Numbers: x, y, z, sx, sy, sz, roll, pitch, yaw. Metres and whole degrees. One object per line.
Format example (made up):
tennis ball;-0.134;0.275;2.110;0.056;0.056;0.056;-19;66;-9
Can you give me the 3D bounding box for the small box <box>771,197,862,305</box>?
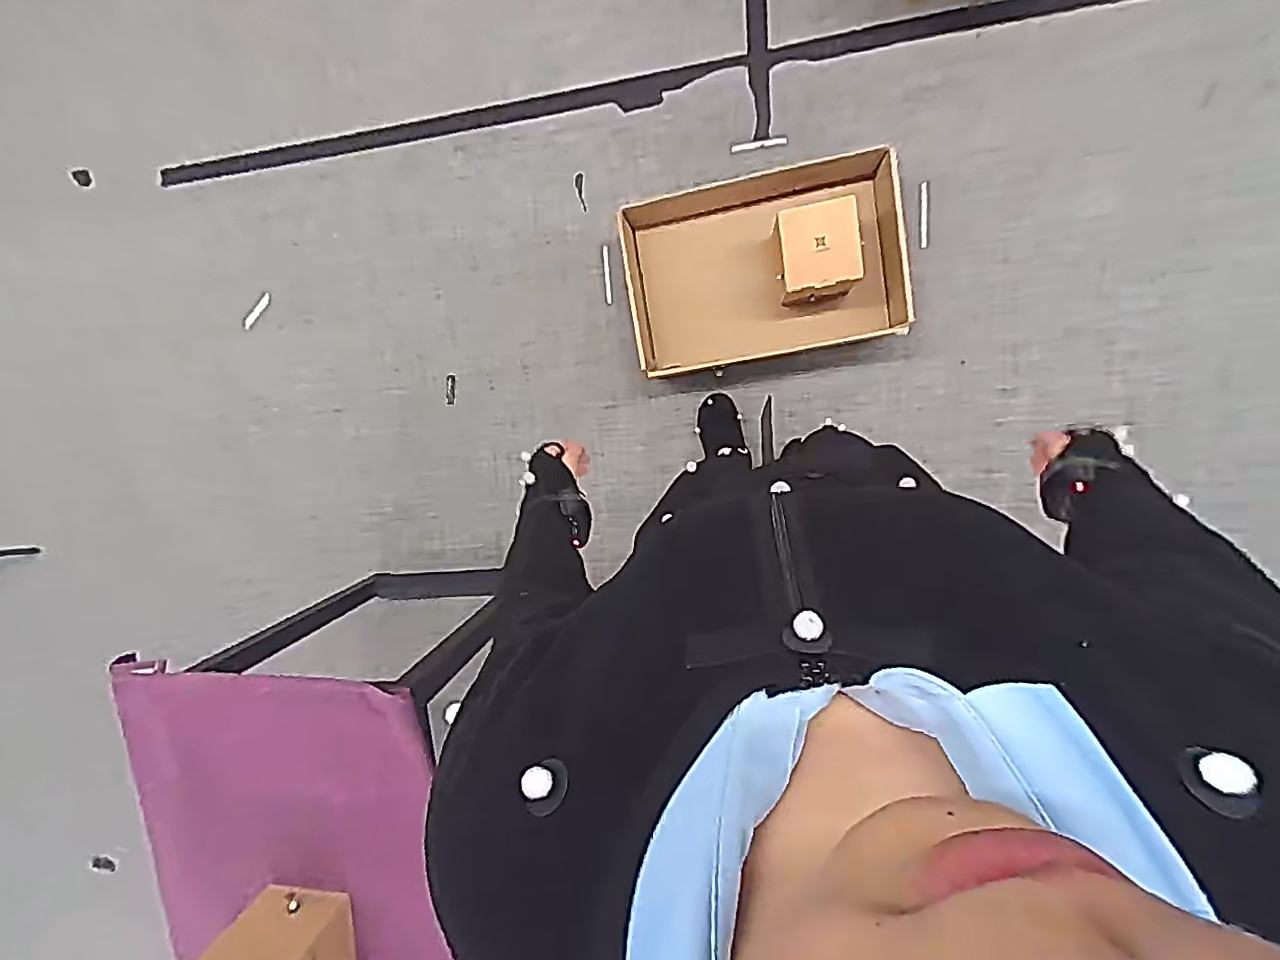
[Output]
small box;0.403;-0.521;1.255;0.168;0.176;0.179;-8;97;10
